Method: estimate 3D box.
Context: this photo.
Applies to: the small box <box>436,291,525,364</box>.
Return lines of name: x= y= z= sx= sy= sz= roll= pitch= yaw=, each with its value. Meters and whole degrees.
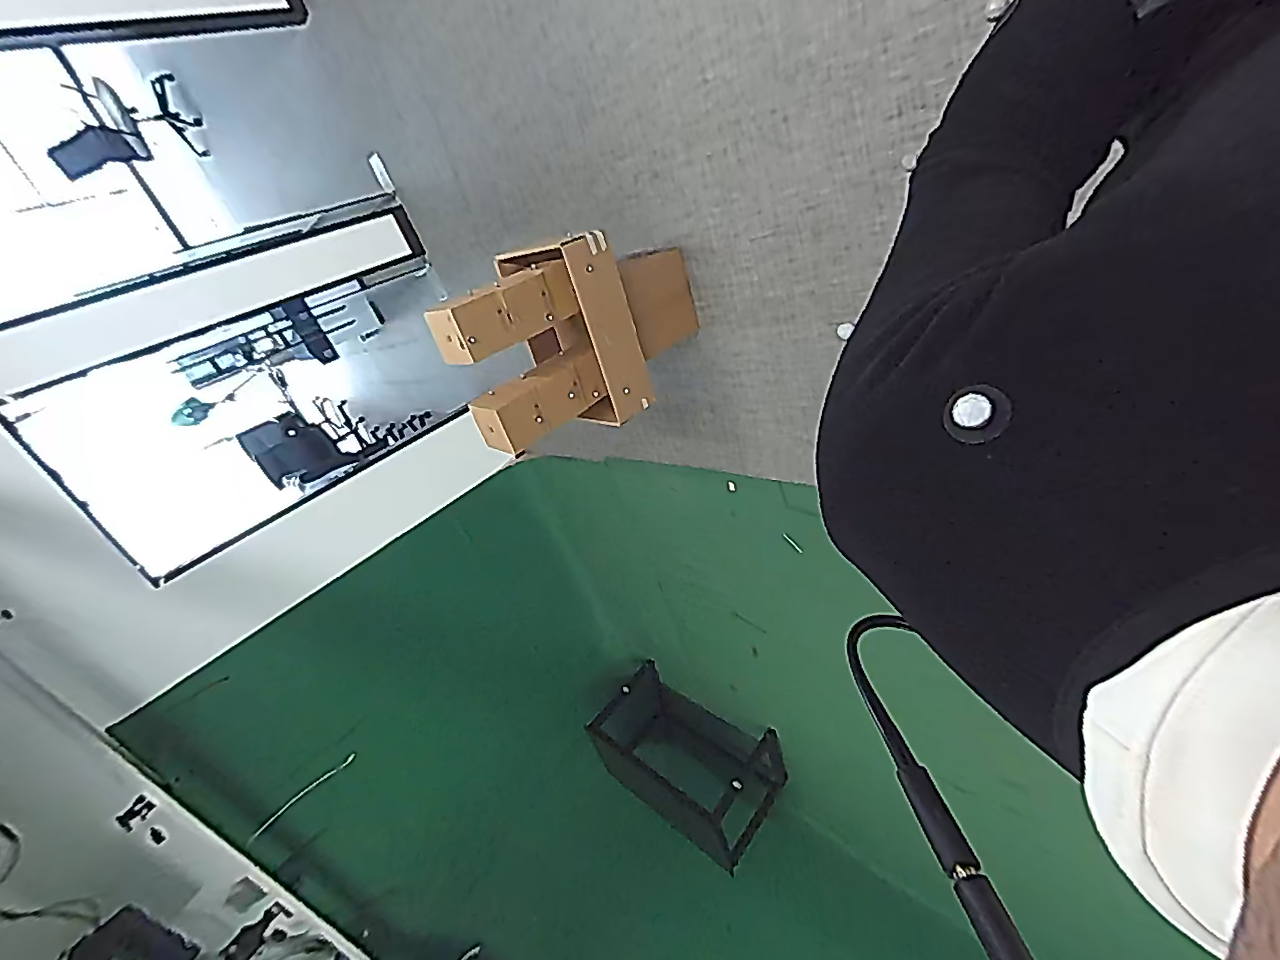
small box: x=-0.481 y=-0.465 z=1.646 sx=0.179 sy=0.176 sz=0.168 roll=13 pitch=131 yaw=45

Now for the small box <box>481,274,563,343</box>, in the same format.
small box: x=-0.368 y=-0.550 z=1.729 sx=0.179 sy=0.176 sz=0.168 roll=16 pitch=133 yaw=43

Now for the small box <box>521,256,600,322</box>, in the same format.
small box: x=-0.264 y=-0.640 z=1.820 sx=0.179 sy=0.176 sz=0.168 roll=14 pitch=132 yaw=44

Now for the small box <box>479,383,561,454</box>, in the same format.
small box: x=-0.394 y=-0.211 z=1.792 sx=0.179 sy=0.176 sz=0.168 roll=16 pitch=135 yaw=43

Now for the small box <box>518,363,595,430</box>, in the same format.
small box: x=-0.286 y=-0.297 z=1.878 sx=0.179 sy=0.176 sz=0.168 roll=17 pitch=135 yaw=43
